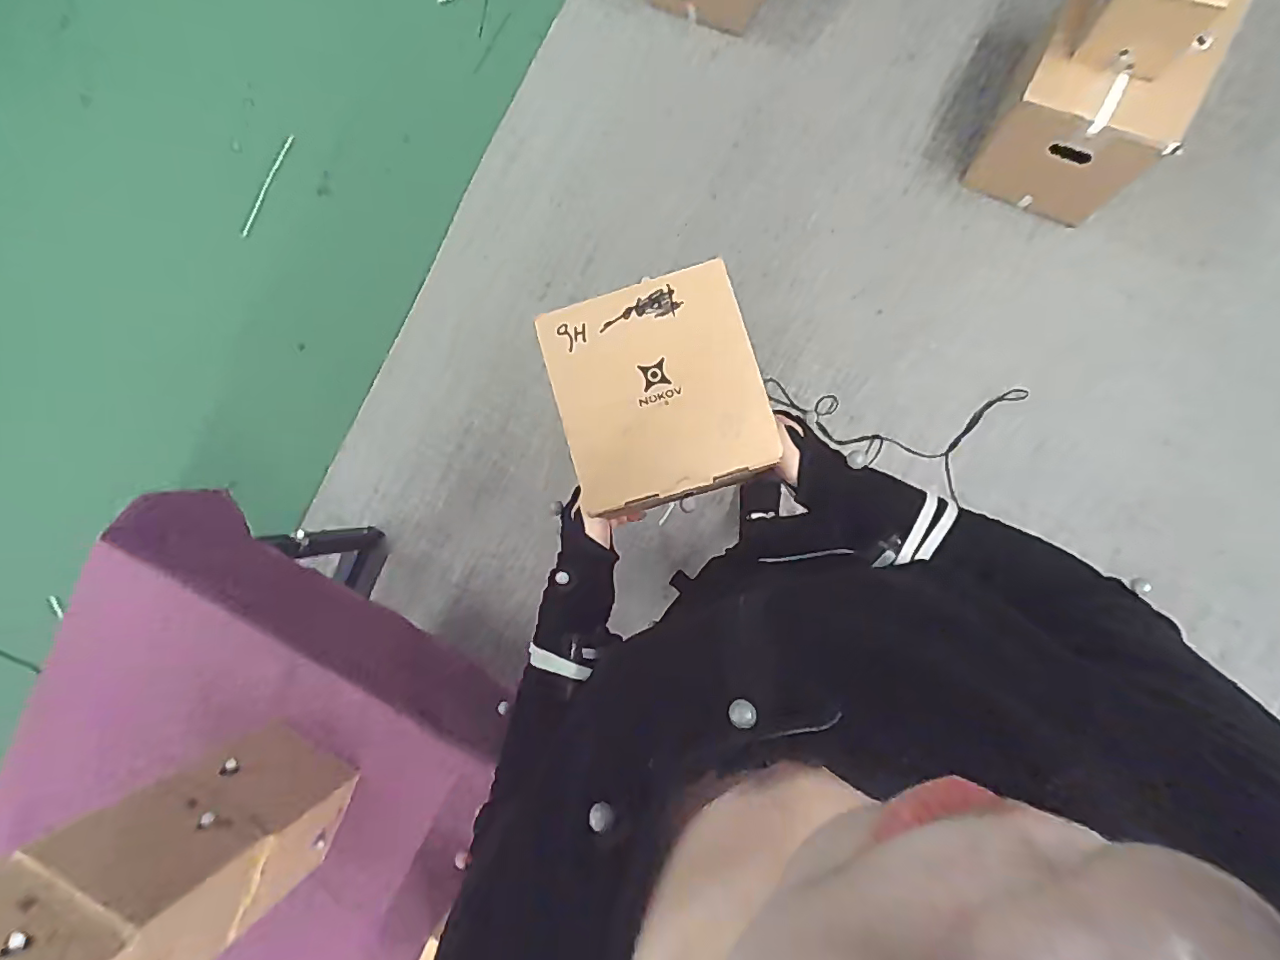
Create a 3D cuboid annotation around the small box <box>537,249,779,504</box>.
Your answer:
[{"bbox_3d":[0.020,-0.082,0.521,0.168,0.176,0.179,-16,86,4],"label":"small box"}]
